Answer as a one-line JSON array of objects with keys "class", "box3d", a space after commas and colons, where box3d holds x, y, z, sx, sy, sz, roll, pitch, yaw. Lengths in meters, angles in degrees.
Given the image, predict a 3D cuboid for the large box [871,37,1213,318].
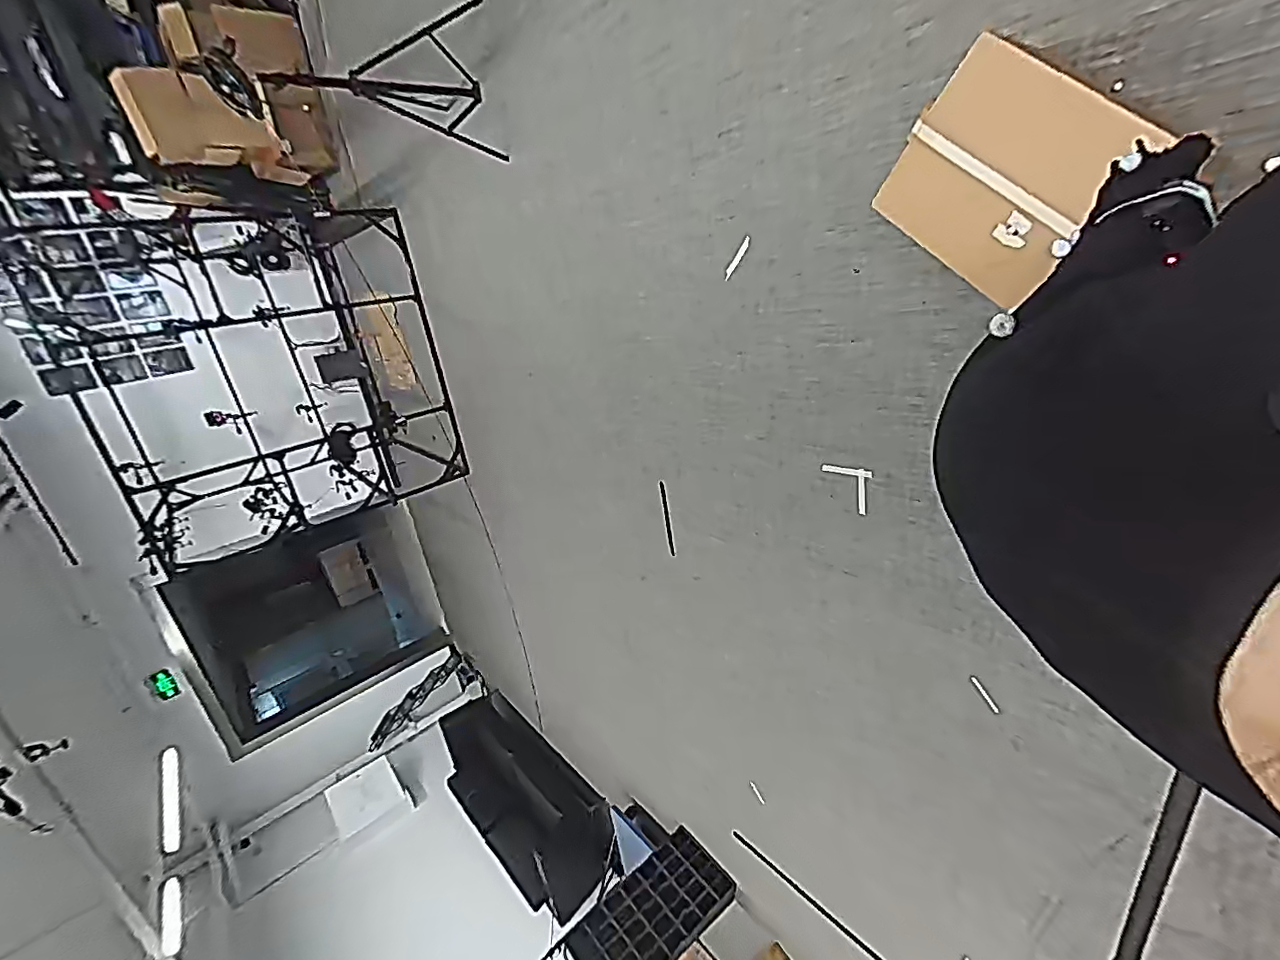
[{"class": "large box", "box3d": [0.763, -0.585, 1.062, 0.408, 0.320, 0.320, 51, 143, 19]}]
